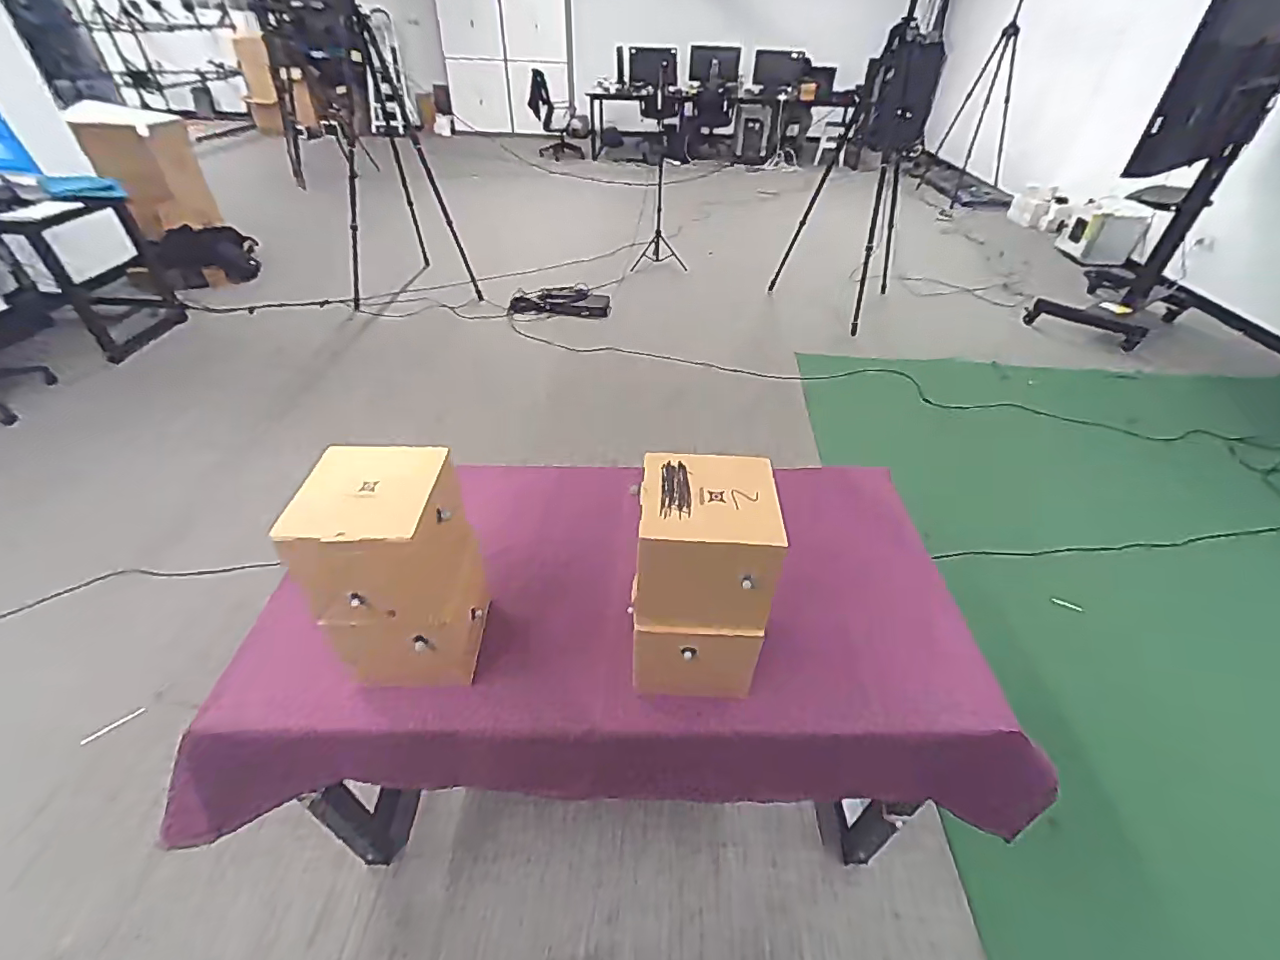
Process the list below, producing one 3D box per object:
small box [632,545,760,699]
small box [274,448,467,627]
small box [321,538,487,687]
[{"bbox_3d":[0.078,0.220,0.835,0.179,0.176,0.168,2,41,0],"label":"small box"},{"bbox_3d":[-0.345,0.076,0.737,0.168,0.176,0.179,1,41,-2],"label":"small box"},{"bbox_3d":[-0.346,0.204,0.839,0.179,0.176,0.168,1,40,-1],"label":"small box"}]
